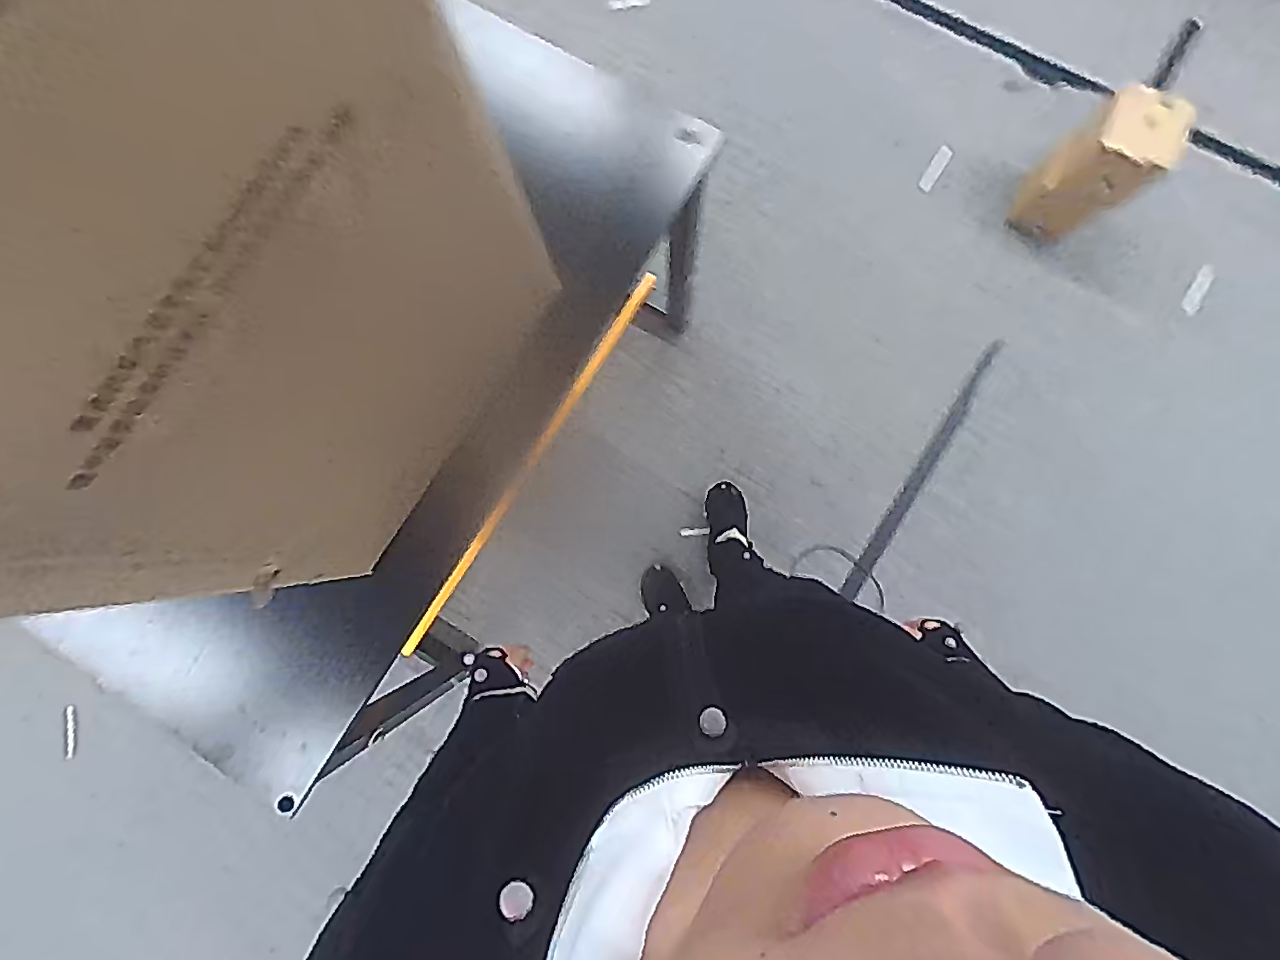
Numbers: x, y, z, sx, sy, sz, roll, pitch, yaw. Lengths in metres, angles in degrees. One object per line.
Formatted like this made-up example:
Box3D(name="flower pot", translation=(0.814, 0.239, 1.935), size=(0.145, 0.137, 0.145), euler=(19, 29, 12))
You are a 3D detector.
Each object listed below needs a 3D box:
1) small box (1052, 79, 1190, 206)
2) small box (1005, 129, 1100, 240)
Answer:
Box3D(name="small box", translation=(1.159, -0.813, 1.320), size=(0.168, 0.176, 0.179), euler=(24, 86, 6))
Box3D(name="small box", translation=(1.152, -0.804, 1.485), size=(0.168, 0.176, 0.179), euler=(25, 87, 6))
